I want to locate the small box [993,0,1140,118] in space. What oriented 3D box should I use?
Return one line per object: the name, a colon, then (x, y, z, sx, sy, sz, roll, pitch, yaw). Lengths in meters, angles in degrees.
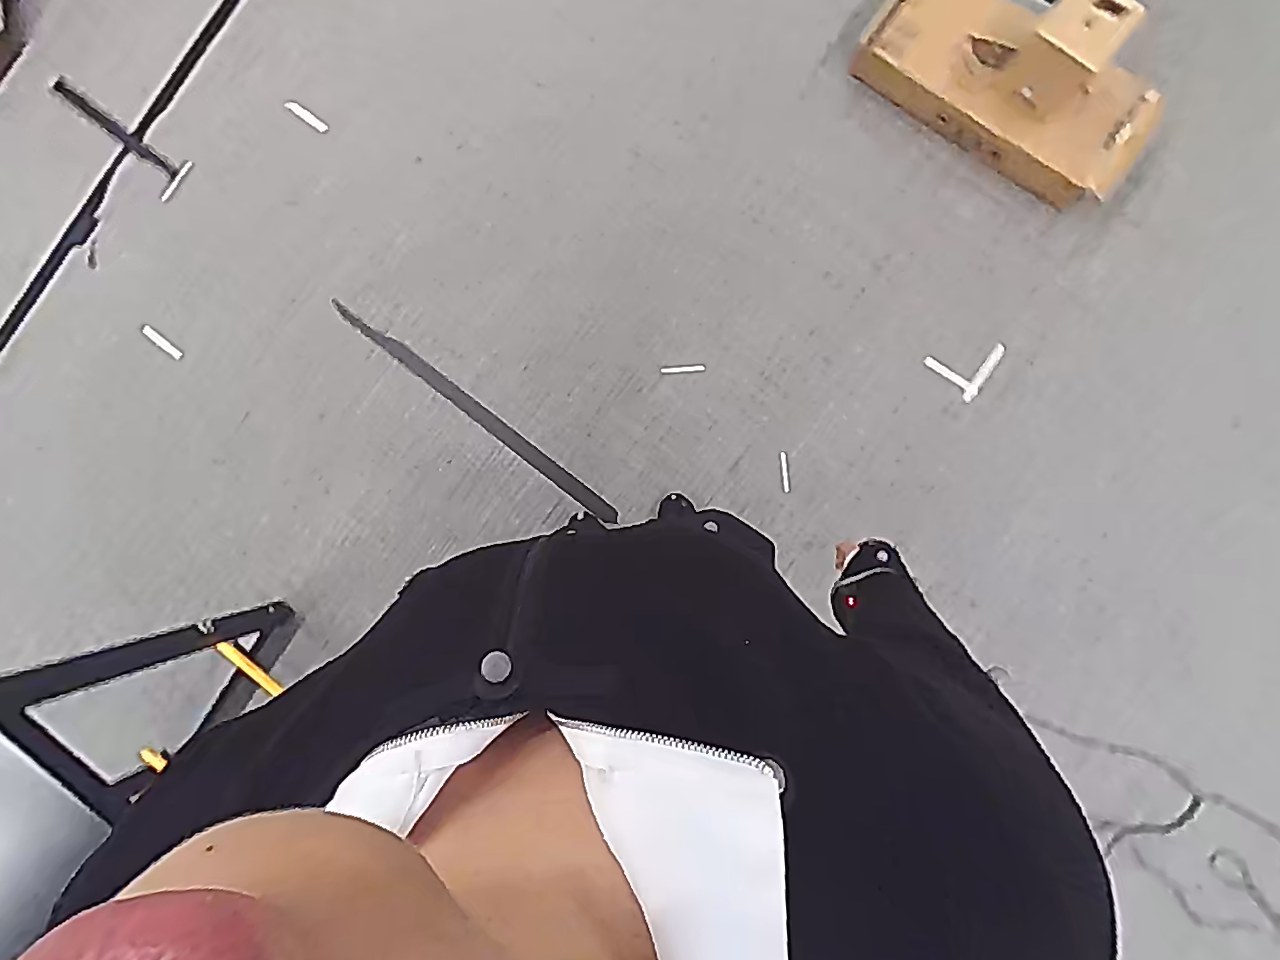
small box: (0.985, -1.015, 1.269, 0.168, 0.176, 0.179, 40, 92, 4)
